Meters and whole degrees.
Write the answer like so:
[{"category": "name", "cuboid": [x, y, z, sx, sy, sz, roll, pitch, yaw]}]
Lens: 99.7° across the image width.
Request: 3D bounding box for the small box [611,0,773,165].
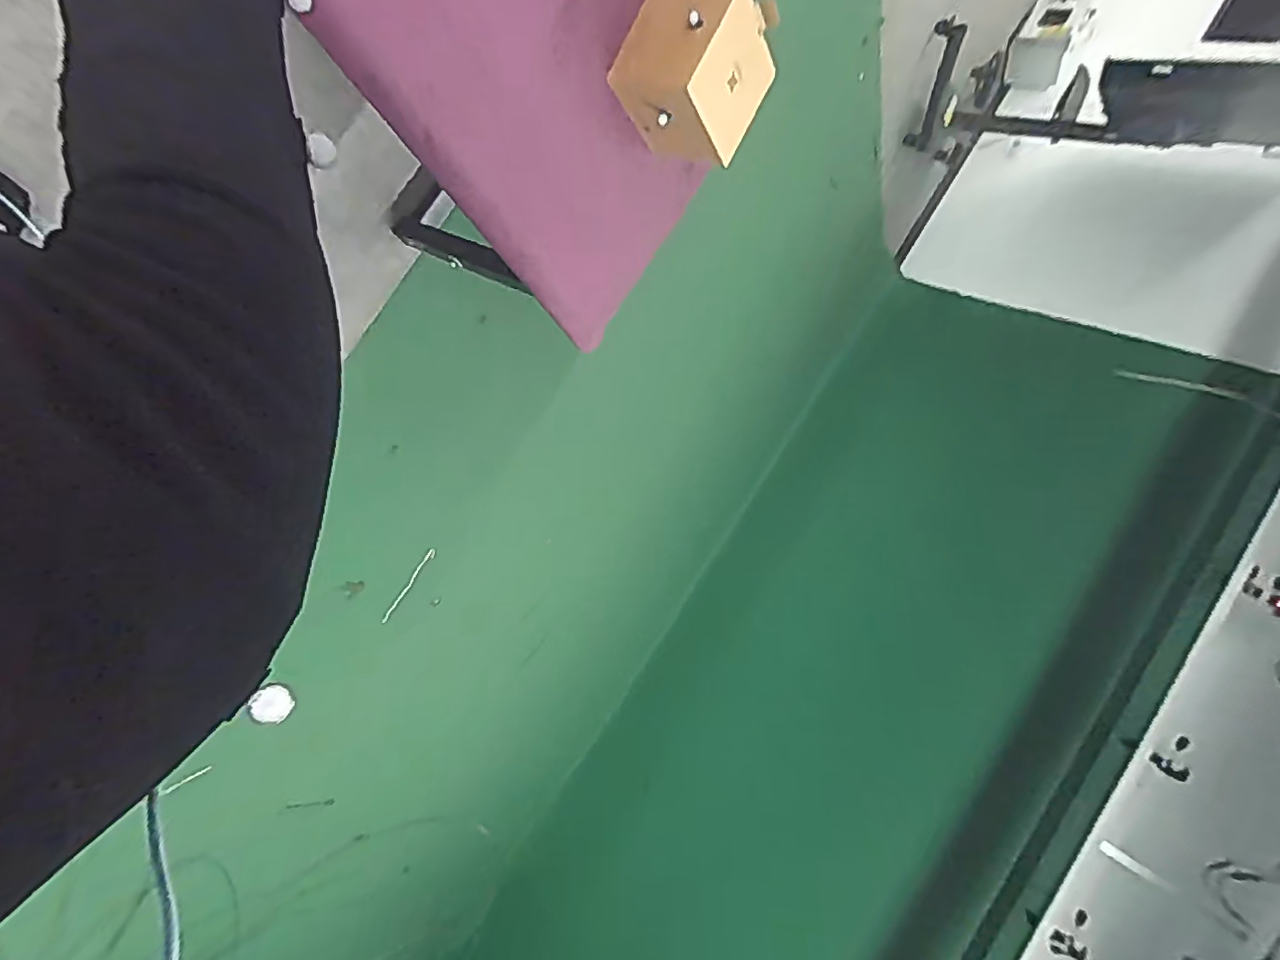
[{"category": "small box", "cuboid": [0.079, -0.647, 0.864, 0.168, 0.176, 0.179, 22, 97, -59]}]
